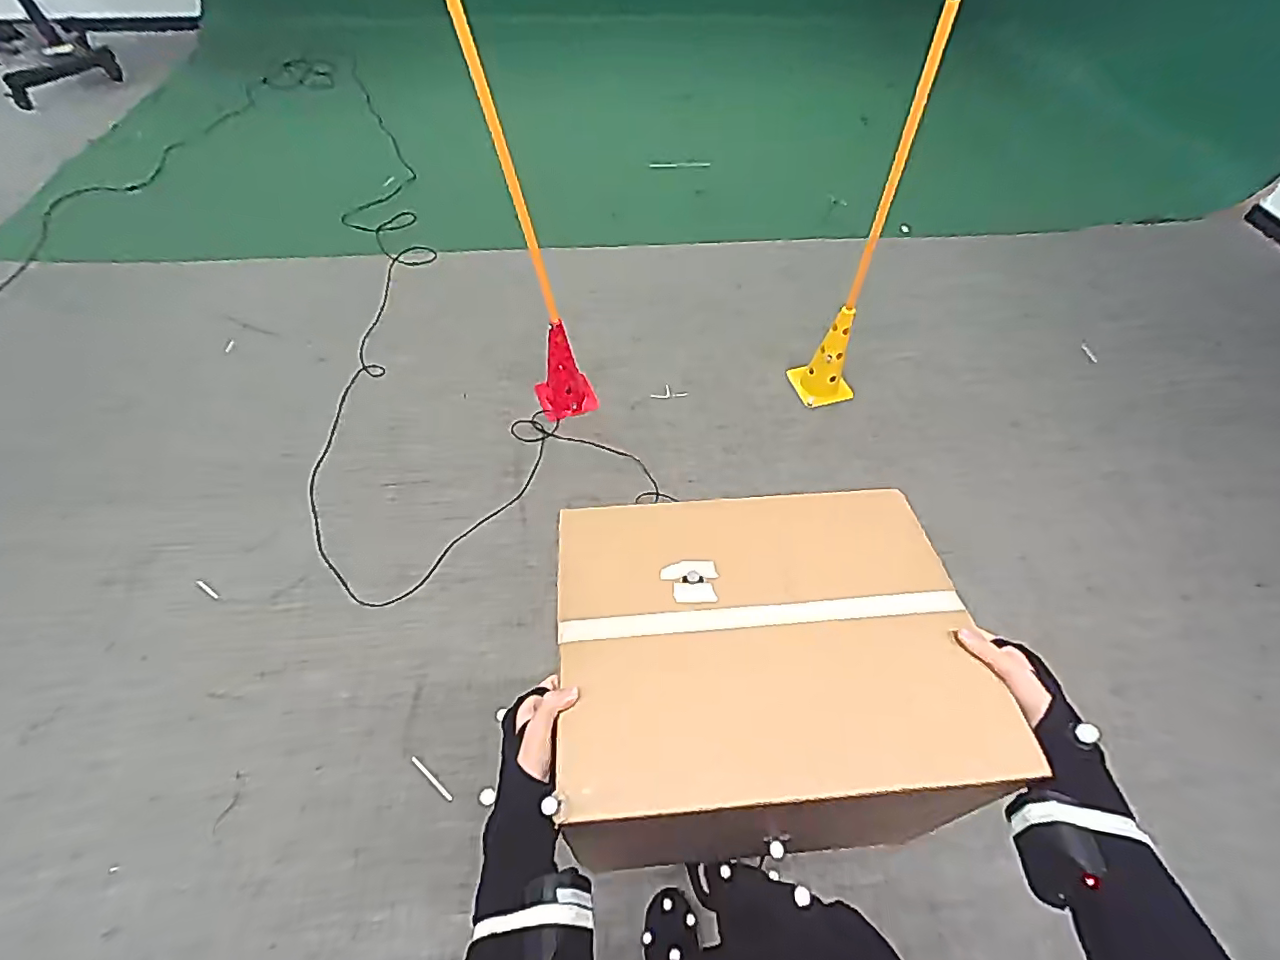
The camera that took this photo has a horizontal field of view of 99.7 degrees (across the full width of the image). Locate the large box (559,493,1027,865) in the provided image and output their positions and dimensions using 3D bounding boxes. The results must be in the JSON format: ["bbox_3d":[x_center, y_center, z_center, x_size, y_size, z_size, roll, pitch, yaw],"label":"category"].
[{"bbox_3d":[0.123,0.244,0.654,0.408,0.320,0.320,-5,48,-3],"label":"large box"}]
